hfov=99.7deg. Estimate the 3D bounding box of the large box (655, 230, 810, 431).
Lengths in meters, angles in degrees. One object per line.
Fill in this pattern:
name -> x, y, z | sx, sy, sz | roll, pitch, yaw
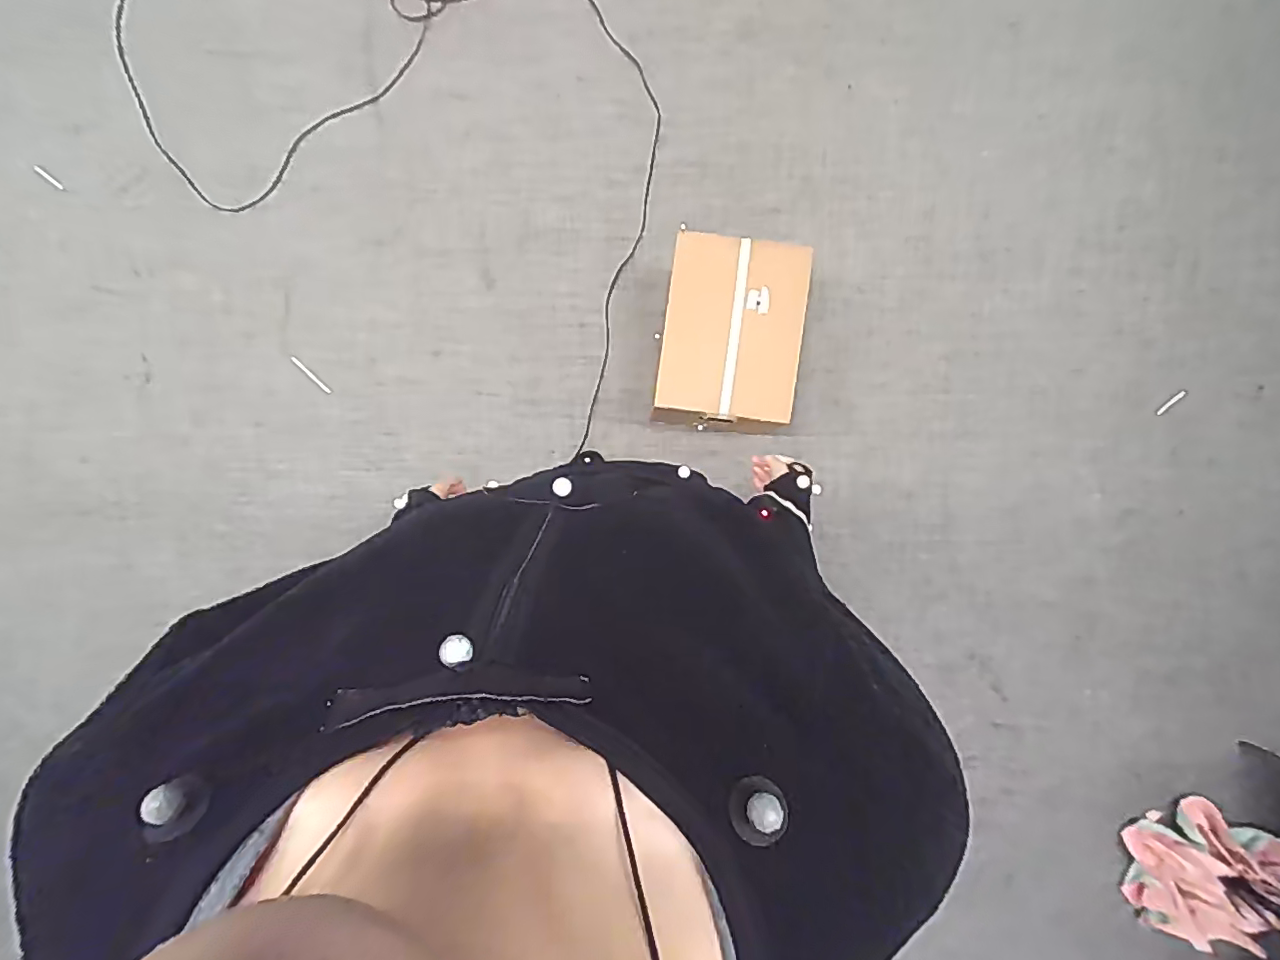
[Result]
large box -> 0.211, -0.349, 1.367 | 0.320, 0.320, 0.408 | 8, 90, -1
